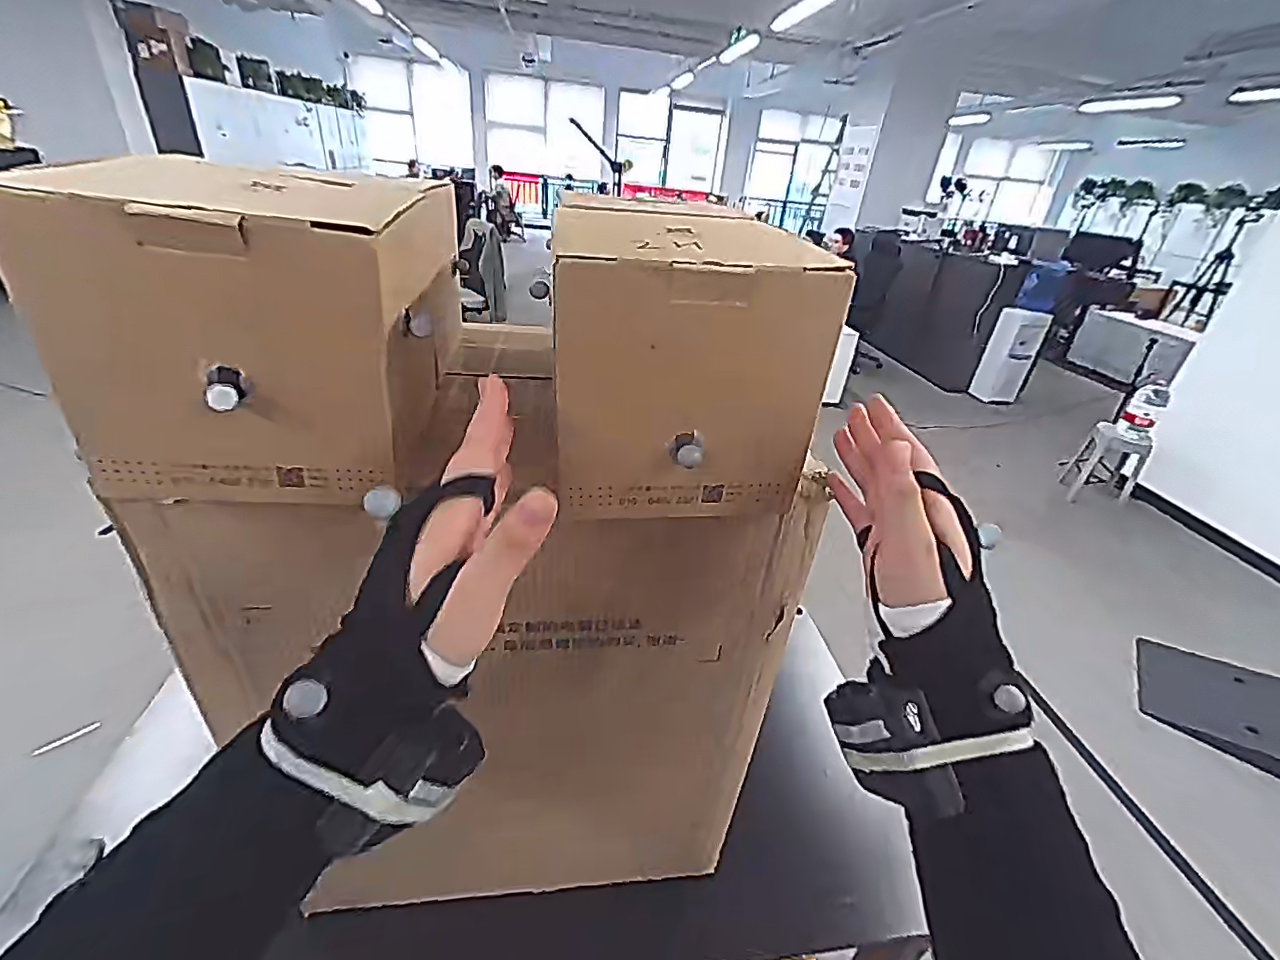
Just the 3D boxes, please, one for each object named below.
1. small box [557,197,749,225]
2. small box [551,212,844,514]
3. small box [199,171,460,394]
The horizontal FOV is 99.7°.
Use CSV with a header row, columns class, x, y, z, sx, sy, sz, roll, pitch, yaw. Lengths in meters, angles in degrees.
class,x,y,z,sx,sy,sz,roll,pitch,yaw
small box,-0.003,-0.191,0.563,0.168,0.176,0.179,-2,30,-10
small box,0.018,-0.091,0.402,0.168,0.176,0.179,-2,34,-9
small box,-0.274,-0.195,0.529,0.168,0.176,0.179,0,31,-10
